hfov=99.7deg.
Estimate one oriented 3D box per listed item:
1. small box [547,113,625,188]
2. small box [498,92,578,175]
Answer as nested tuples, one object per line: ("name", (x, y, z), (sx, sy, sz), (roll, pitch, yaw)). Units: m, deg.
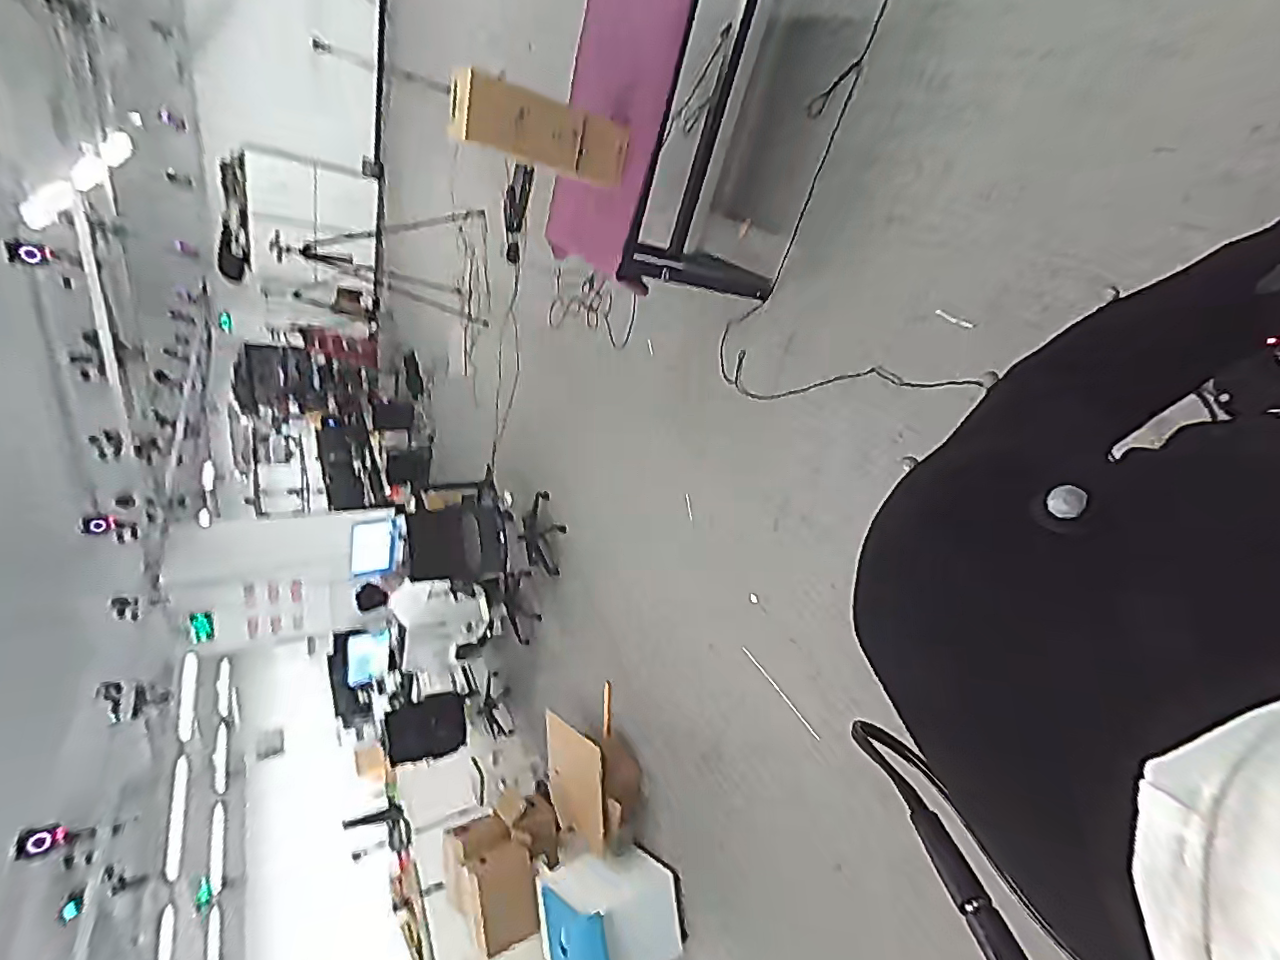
("small box", (-0.173, -1.028, 1.693), (0.179, 0.176, 0.168), (42, 126, 46))
("small box", (-0.299, -1.013, 1.586), (0.179, 0.176, 0.168), (43, 125, 45))
